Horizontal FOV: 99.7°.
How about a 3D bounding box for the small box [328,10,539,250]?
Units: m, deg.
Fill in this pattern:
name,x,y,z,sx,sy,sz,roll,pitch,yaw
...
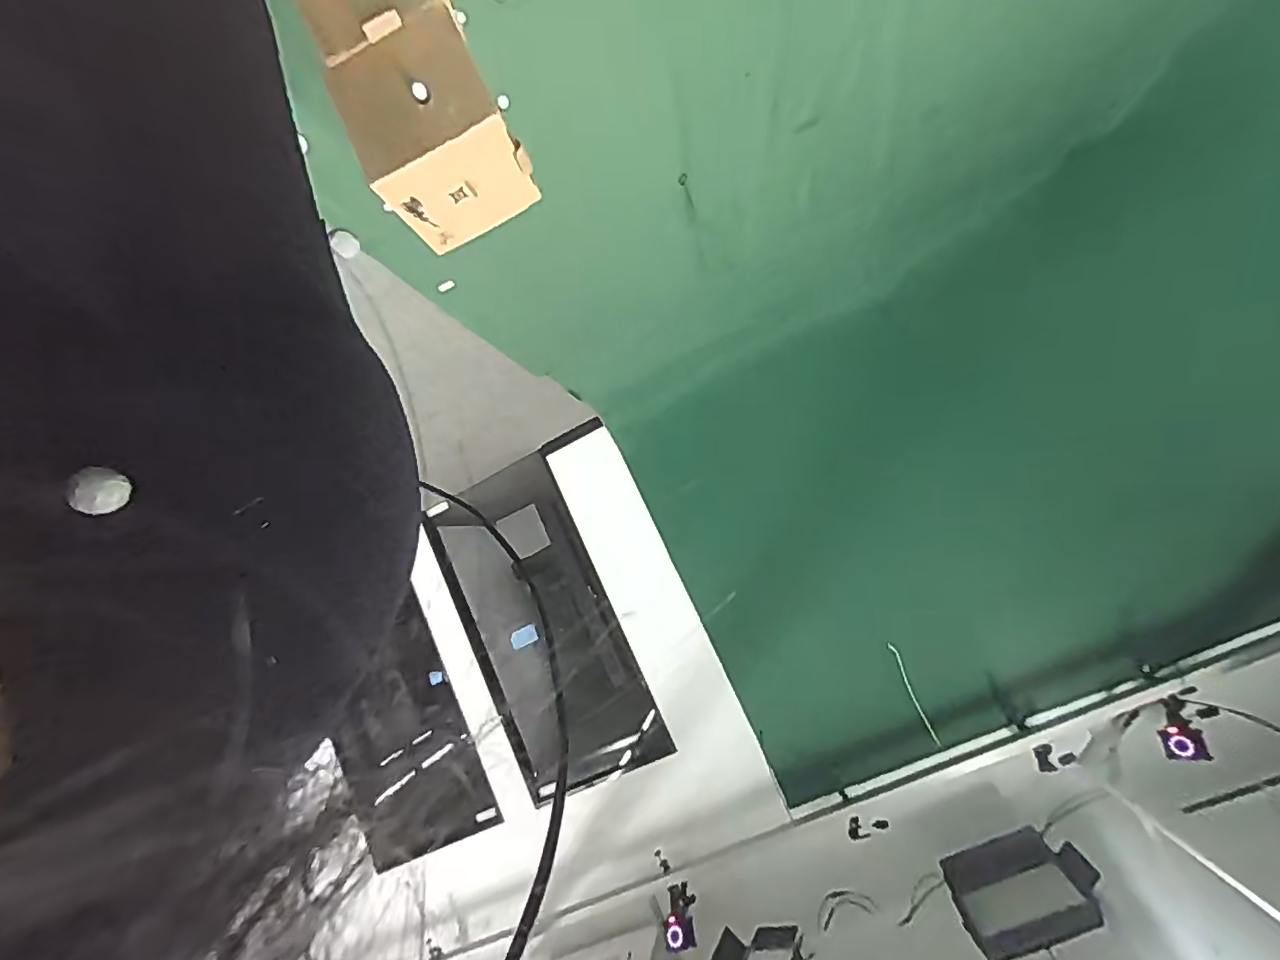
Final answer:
name,x,y,z,sx,sy,sz,roll,pitch,yaw
small box,-0.264,-0.451,0.713,0.179,0.176,0.168,-26,173,4
